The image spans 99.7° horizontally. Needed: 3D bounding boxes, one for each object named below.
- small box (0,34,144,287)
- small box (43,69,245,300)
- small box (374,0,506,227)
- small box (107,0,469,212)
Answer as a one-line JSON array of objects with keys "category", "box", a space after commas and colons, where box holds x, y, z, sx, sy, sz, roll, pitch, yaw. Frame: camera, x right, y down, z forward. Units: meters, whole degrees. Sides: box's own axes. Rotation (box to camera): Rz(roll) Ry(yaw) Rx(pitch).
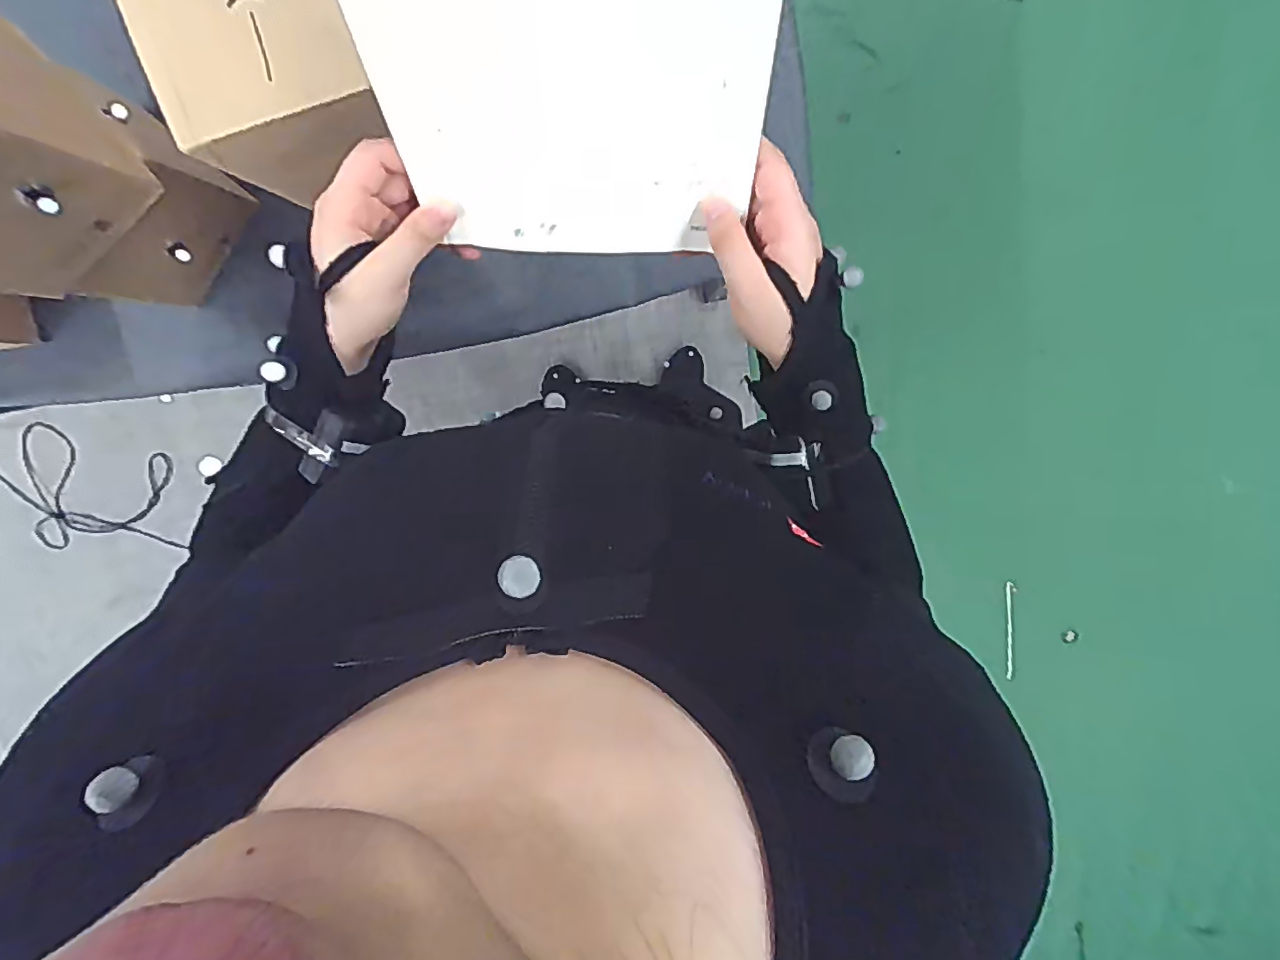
[{"category": "small box", "box": [-0.579, -0.277, 0.436, 0.168, 0.176, 0.179, -38, 99, 7]}, {"category": "small box", "box": [-0.596, -0.317, 0.594, 0.179, 0.176, 0.168, 39, 100, -8]}, {"category": "small box", "box": [-0.261, -0.389, 0.575, 0.179, 0.176, 0.168, 19, 102, -3]}, {"category": "small box", "box": [-0.258, -0.338, 0.418, 0.168, 0.176, 0.179, -14, 103, 5]}]
